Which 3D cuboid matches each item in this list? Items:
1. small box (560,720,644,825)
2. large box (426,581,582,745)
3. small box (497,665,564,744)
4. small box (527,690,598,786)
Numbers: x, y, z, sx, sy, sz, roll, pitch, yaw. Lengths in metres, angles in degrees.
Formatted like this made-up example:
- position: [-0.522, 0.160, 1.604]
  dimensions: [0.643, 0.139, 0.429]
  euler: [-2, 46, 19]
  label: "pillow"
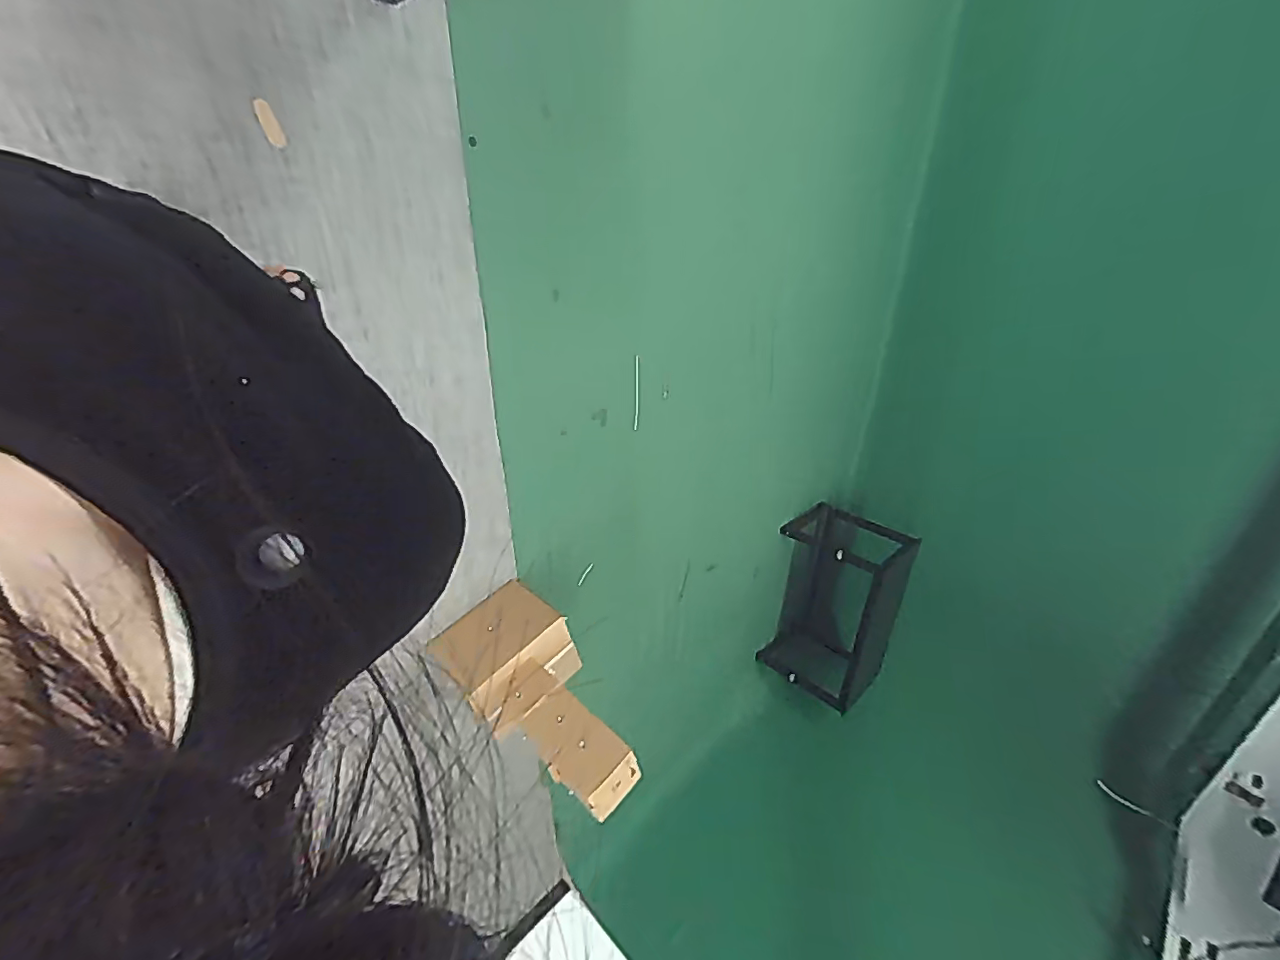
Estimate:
- position: [-0.116, 0.859, 1.598]
  dimensions: [0.179, 0.176, 0.168]
  euler: [-36, 133, -29]
  label: "small box"
- position: [-0.490, 0.655, 1.983]
  dimensions: [0.408, 0.320, 0.320]
  euler: [-39, 135, -31]
  label: "large box"
- position: [-0.348, 0.747, 1.801]
  dimensions: [0.168, 0.176, 0.179]
  euler: [-37, 133, -30]
  label: "small box"
- position: [-0.235, 0.804, 1.699]
  dimensions: [0.179, 0.176, 0.168]
  euler: [-38, 134, -30]
  label: "small box"
